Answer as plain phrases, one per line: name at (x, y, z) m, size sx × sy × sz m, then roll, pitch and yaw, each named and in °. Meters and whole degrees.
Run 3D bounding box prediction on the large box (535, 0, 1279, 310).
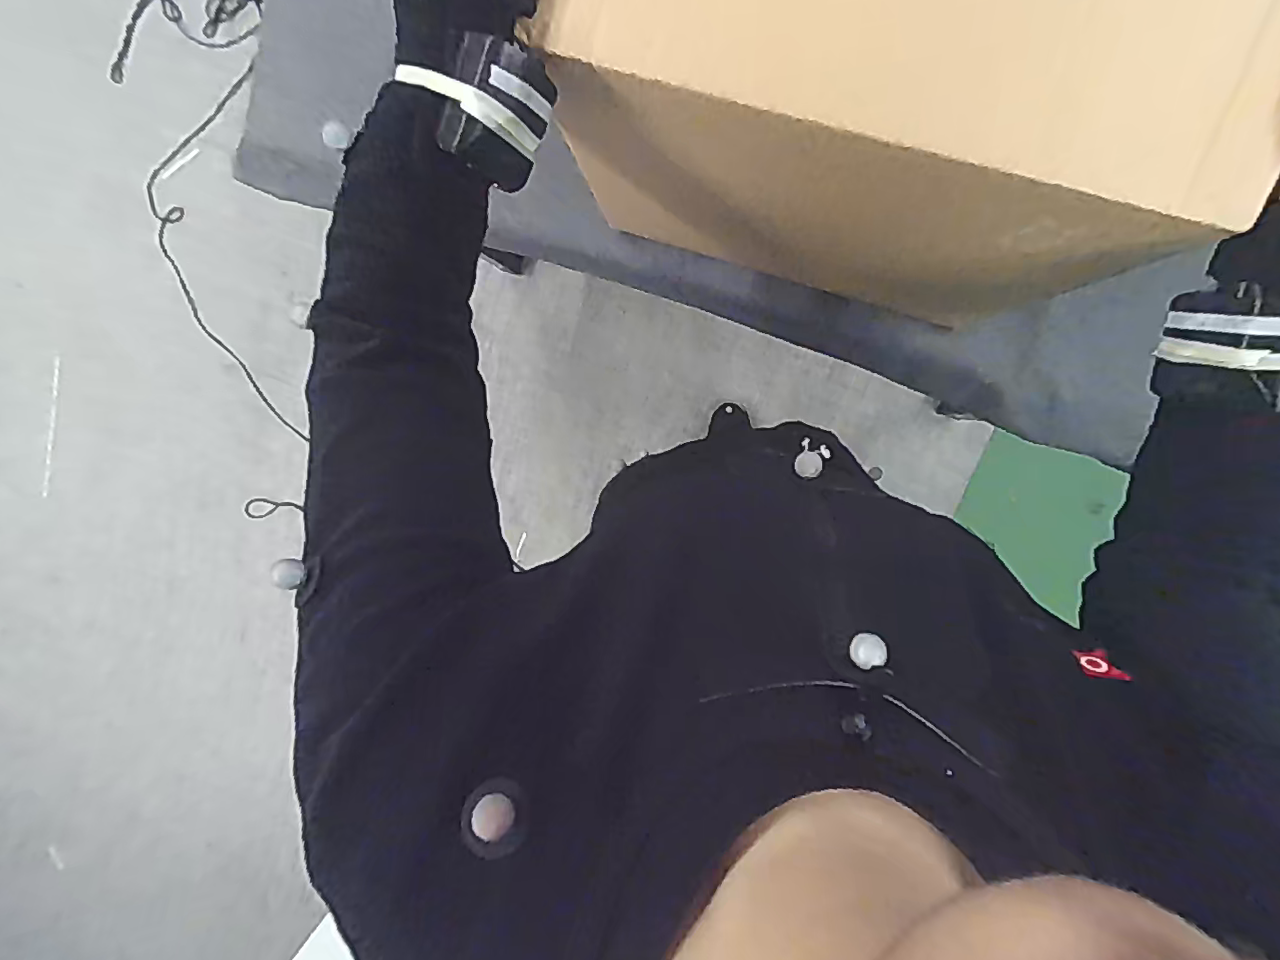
large box at (0.181, -0.361, 0.425) m, size 0.408 × 0.320 × 0.320 m, roll 17°, pitch 99°, yaw 3°
